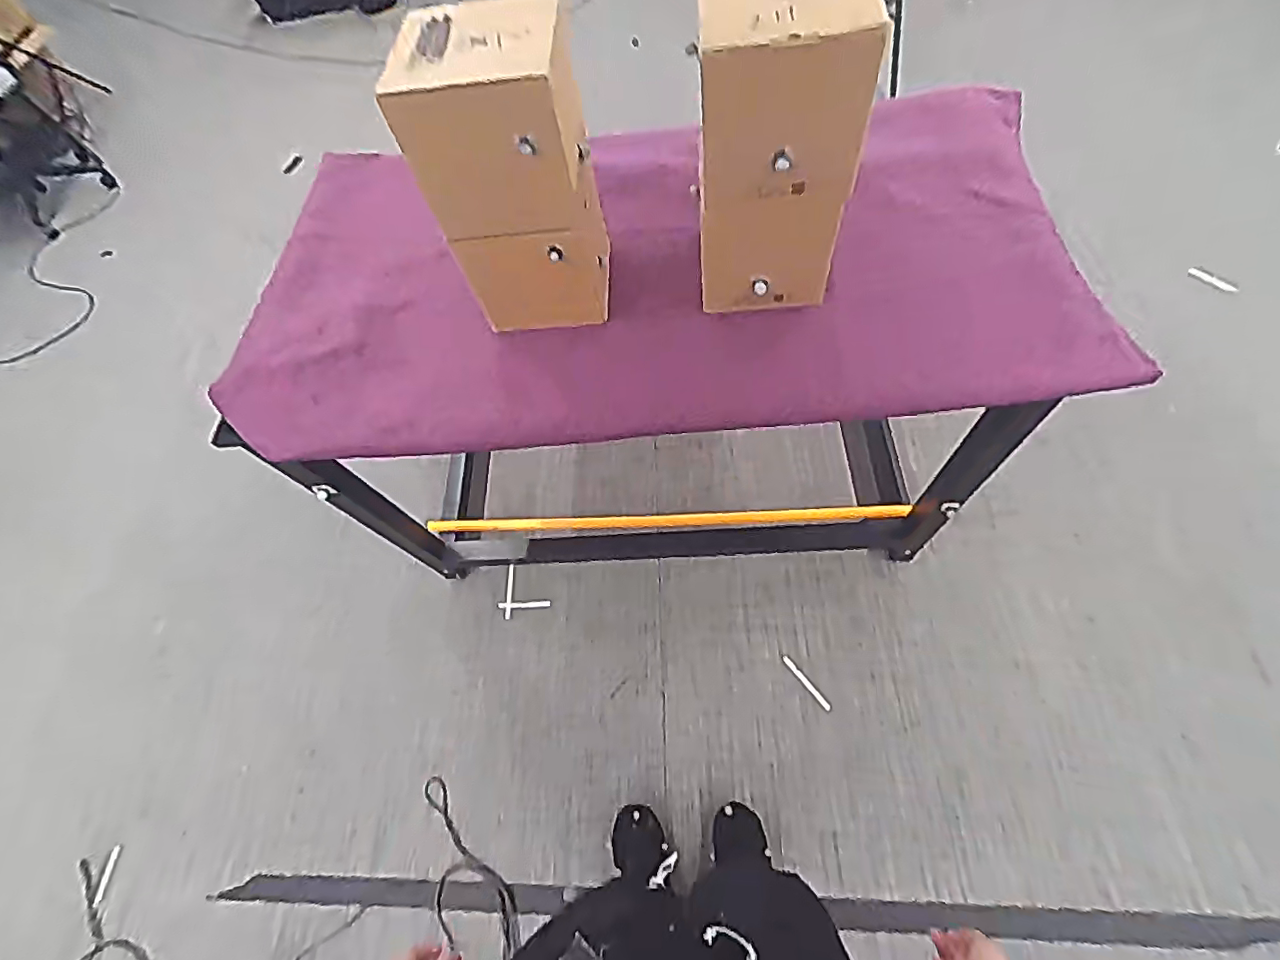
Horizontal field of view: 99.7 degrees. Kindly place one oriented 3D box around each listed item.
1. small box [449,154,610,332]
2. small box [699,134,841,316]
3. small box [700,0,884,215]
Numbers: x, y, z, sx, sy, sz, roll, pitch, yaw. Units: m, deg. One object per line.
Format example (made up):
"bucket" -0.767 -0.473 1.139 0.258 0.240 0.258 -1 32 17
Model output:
"small box" -0.146 -0.331 0.779 0.179 0.176 0.168 -3 62 6
"small box" 0.165 -0.352 0.745 0.168 0.176 0.179 -2 63 7
"small box" 0.150 -0.427 0.598 0.168 0.176 0.179 -2 63 8
